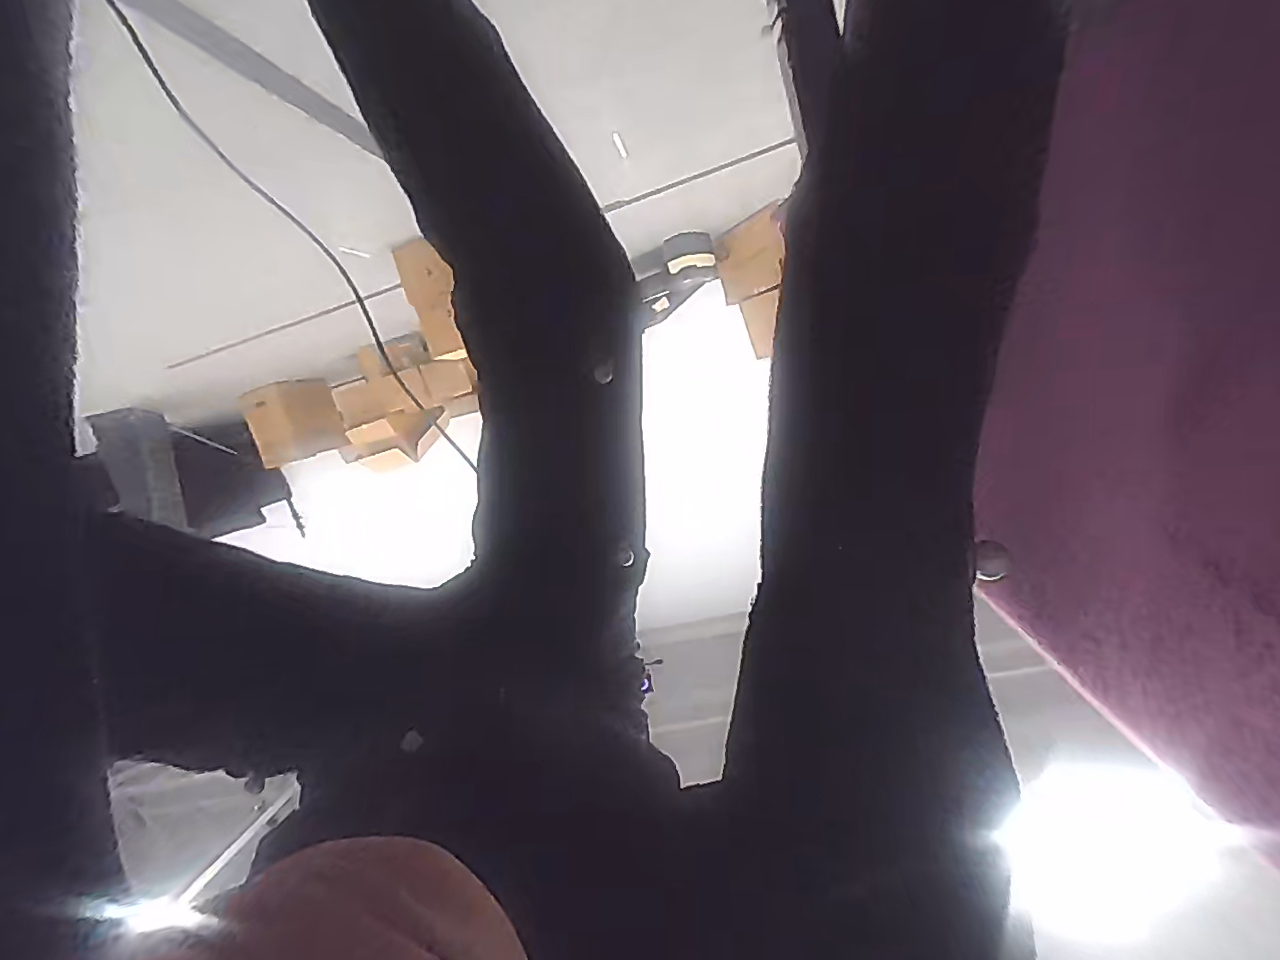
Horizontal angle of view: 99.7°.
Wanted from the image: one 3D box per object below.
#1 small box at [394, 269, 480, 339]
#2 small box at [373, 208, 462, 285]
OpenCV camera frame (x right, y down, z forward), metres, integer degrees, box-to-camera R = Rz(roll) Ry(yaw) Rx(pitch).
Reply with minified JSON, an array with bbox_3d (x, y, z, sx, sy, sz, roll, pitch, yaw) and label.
[{"bbox_3d":[-0.621,-0.539,1.667,0.168,0.176,0.179,-14,-168,8],"label":"small box"},{"bbox_3d":[-0.669,-0.688,1.620,0.179,0.176,0.168,-14,-167,12],"label":"small box"}]
